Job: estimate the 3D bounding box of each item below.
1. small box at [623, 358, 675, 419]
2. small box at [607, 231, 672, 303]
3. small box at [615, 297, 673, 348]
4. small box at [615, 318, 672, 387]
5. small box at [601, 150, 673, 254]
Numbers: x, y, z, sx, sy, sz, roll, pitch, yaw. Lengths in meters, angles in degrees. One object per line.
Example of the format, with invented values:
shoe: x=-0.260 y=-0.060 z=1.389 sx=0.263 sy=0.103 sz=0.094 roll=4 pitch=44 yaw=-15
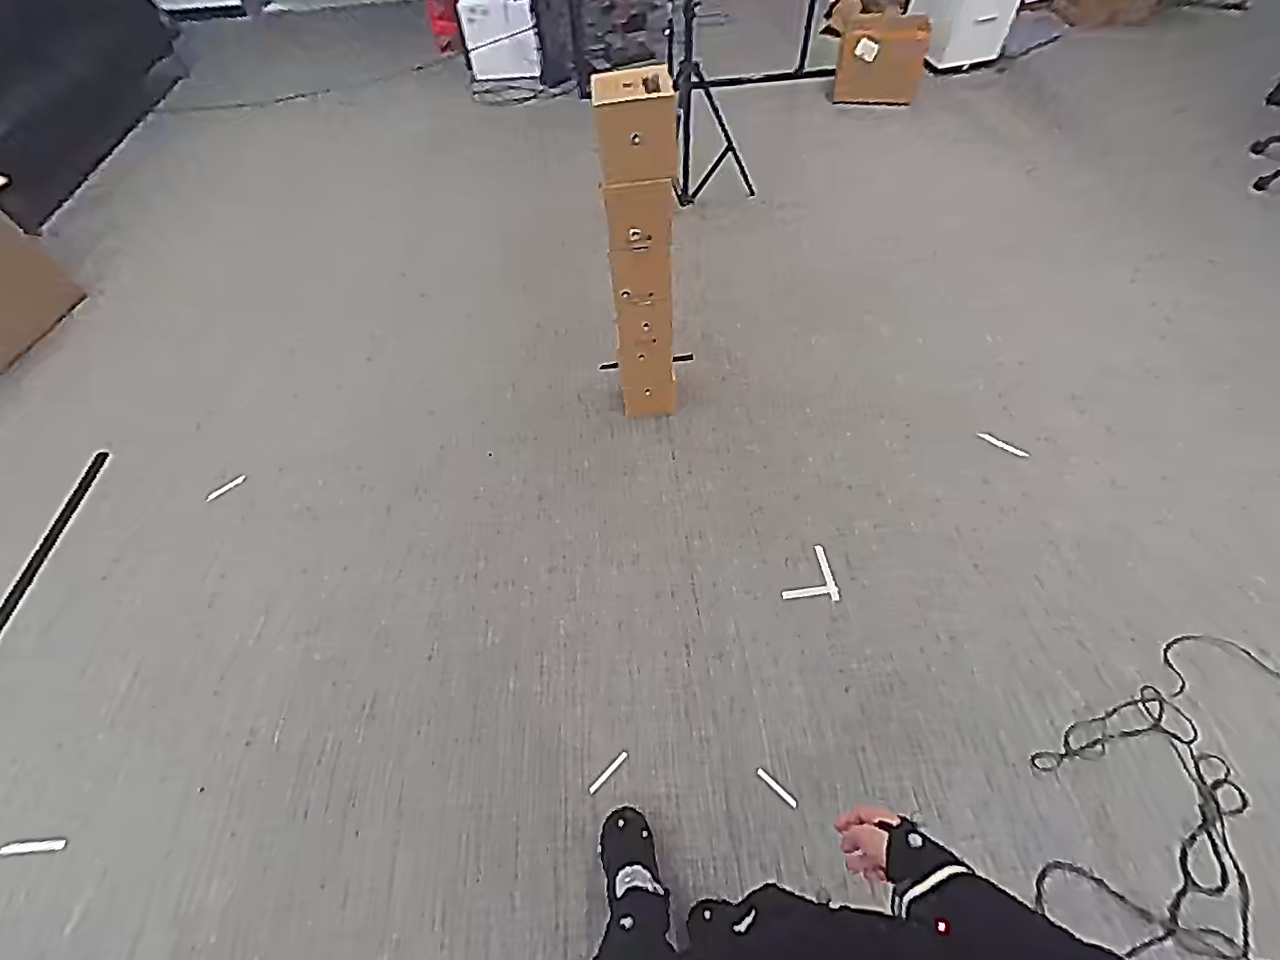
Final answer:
small box: x=0.029 y=-0.332 z=1.909 sx=0.179 sy=0.176 sz=0.168 roll=-6 pitch=56 yaw=0
small box: x=0.000 y=-0.611 z=1.505 sx=0.168 sy=0.176 sz=0.179 roll=-5 pitch=55 yaw=1
small box: x=0.012 y=-0.517 z=1.639 sx=0.168 sy=0.176 sz=0.179 roll=-4 pitch=56 yaw=1
small box: x=0.013 y=-0.421 z=1.772 sx=0.179 sy=0.176 sz=0.168 roll=-4 pitch=56 yaw=2
small box: x=-0.007 y=-0.703 z=1.372 sx=0.168 sy=0.176 sz=0.179 roll=-7 pitch=57 yaw=0
